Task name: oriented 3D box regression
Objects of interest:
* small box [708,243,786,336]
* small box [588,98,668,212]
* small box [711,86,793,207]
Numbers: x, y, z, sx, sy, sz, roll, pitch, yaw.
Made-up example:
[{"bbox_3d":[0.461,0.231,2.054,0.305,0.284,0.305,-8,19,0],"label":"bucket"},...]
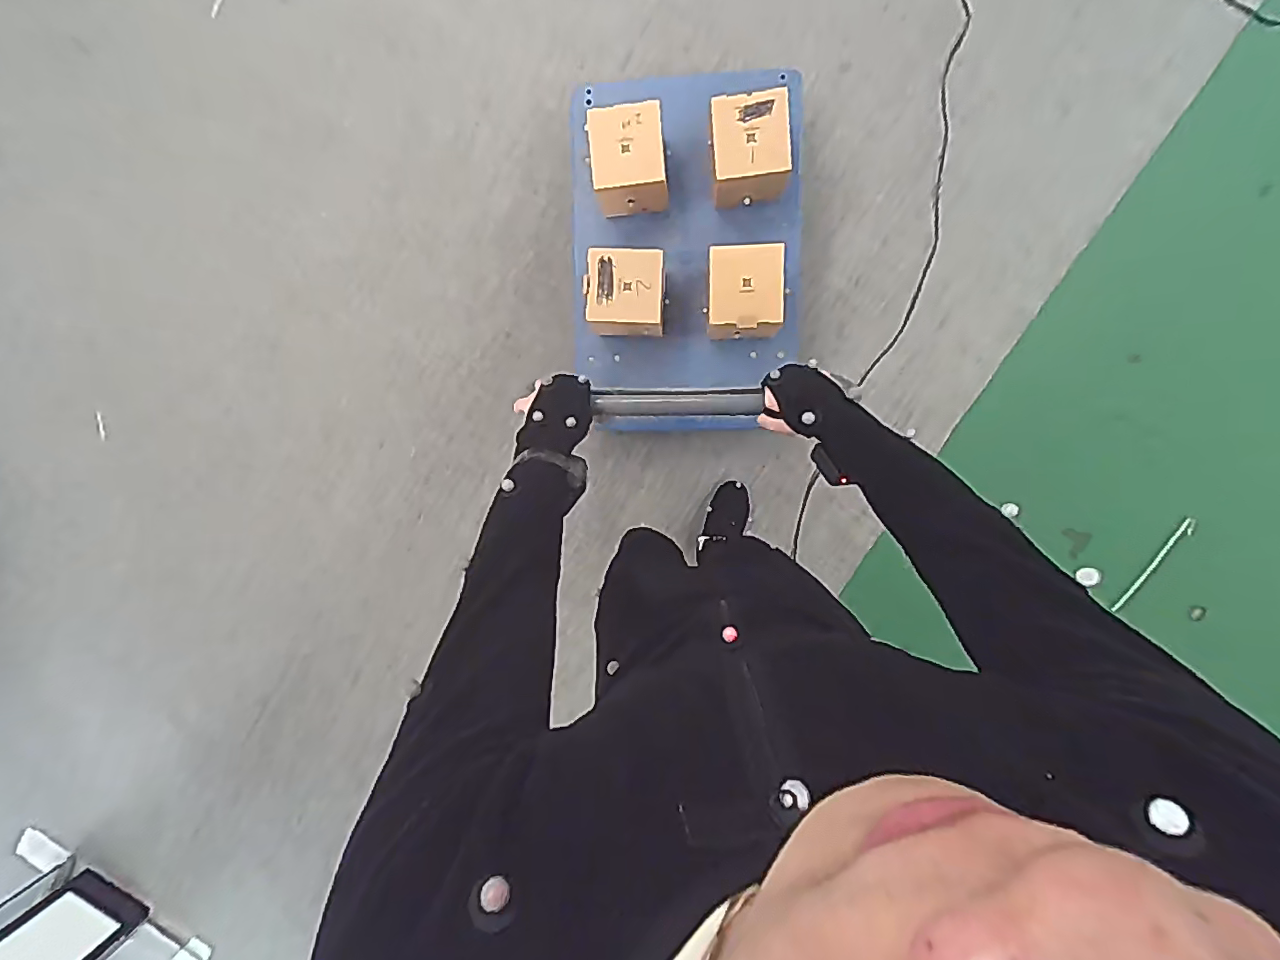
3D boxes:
[{"bbox_3d":[0.248,-0.445,1.284,0.168,0.176,0.179,0,96,5],"label":"small box"},{"bbox_3d":[-0.022,-0.754,1.278,0.168,0.176,0.179,-4,95,5],"label":"small box"},{"bbox_3d":[0.253,-0.761,1.251,0.168,0.176,0.179,-4,96,6],"label":"small box"}]
